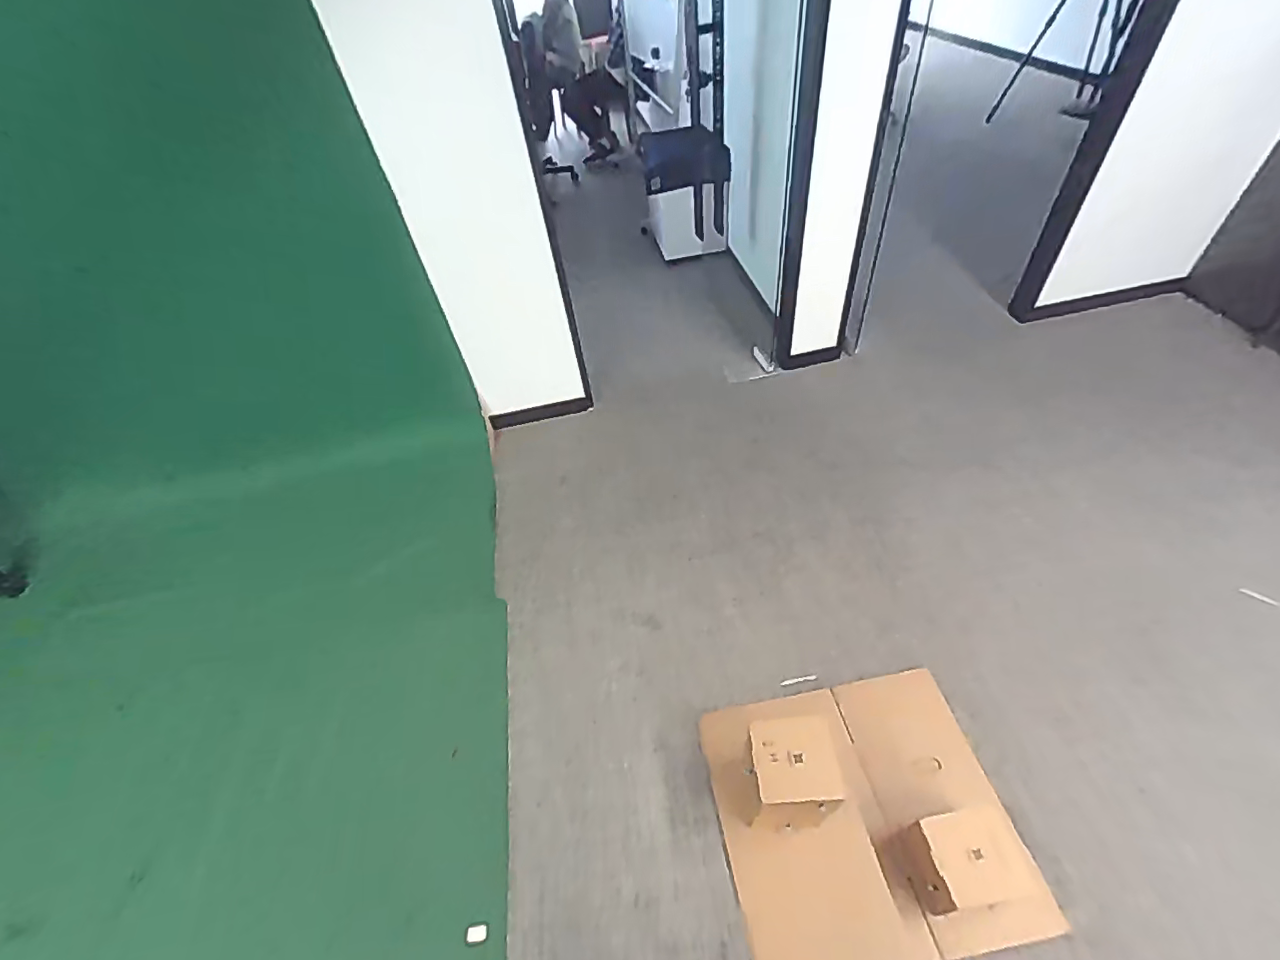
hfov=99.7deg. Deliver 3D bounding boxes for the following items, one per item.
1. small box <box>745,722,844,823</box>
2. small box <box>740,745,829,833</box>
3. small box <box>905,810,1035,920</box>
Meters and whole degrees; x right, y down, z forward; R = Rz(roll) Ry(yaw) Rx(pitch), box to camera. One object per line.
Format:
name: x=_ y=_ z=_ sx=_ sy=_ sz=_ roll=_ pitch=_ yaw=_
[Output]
small box: x=0.338 y=0.661 z=1.219 sx=0.179 sy=0.176 sz=0.168 roll=-5 pitch=47 yaw=4
small box: x=0.351 y=0.767 z=1.346 sx=0.179 sy=0.176 sz=0.168 roll=-5 pitch=47 yaw=4
small box: x=0.720 y=0.863 z=1.209 sx=0.179 sy=0.176 sz=0.168 roll=-10 pitch=48 yaw=-1
